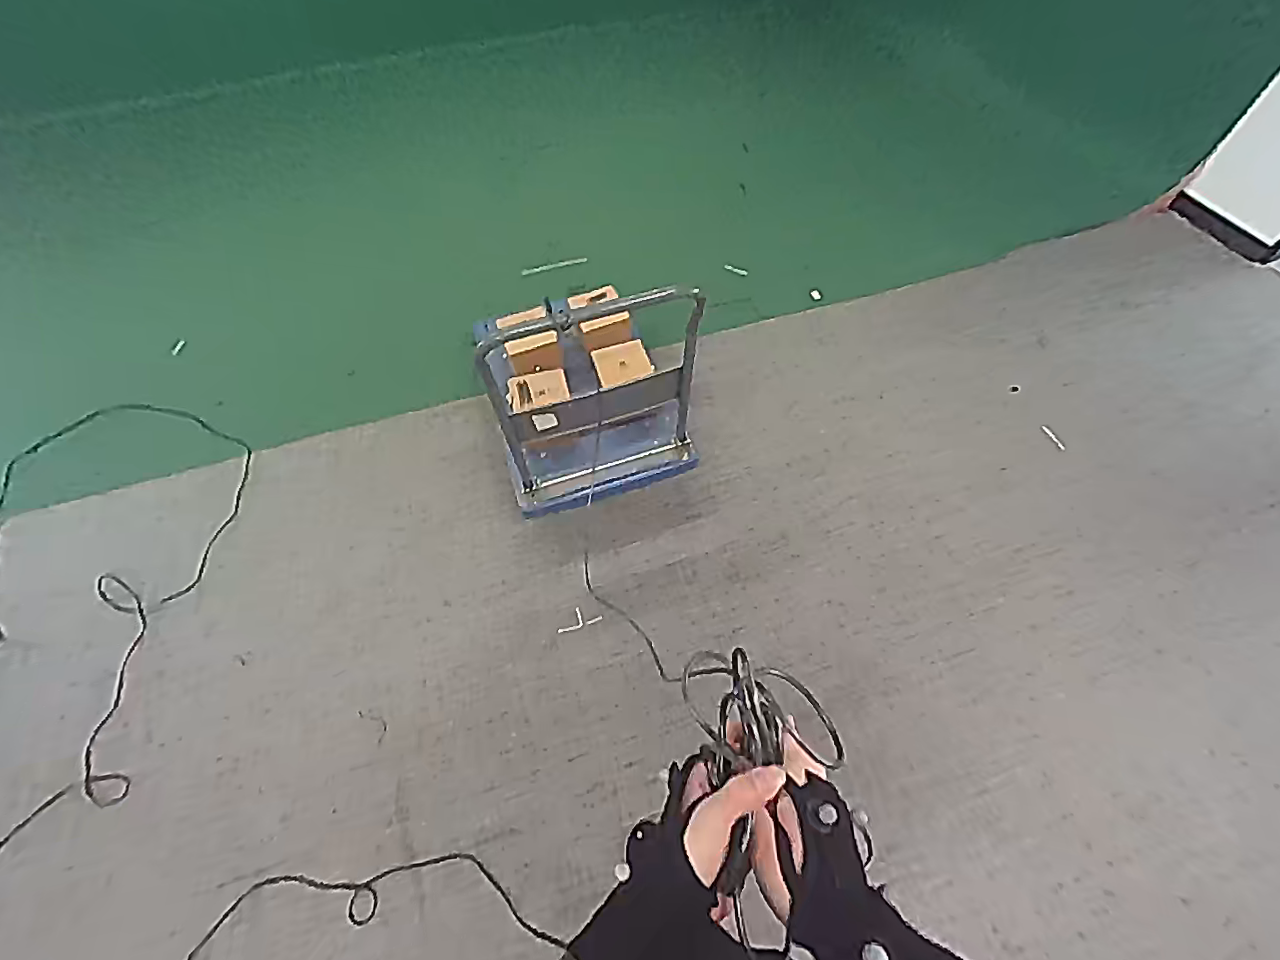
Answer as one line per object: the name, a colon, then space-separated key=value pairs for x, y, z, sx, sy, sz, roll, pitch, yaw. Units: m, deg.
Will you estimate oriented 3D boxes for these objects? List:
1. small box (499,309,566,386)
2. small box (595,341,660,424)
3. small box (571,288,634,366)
small box: x=-0.359 y=-0.441 z=1.830 sx=0.168 sy=0.176 sz=0.179 roll=-20 pitch=60 yaw=-10
small box: x=-0.041 y=-0.311 z=1.738 sx=0.168 sy=0.176 sz=0.179 roll=-16 pitch=60 yaw=-7
small box: x=-0.127 y=-0.528 z=1.874 sx=0.168 sy=0.176 sz=0.179 roll=-21 pitch=61 yaw=-9
